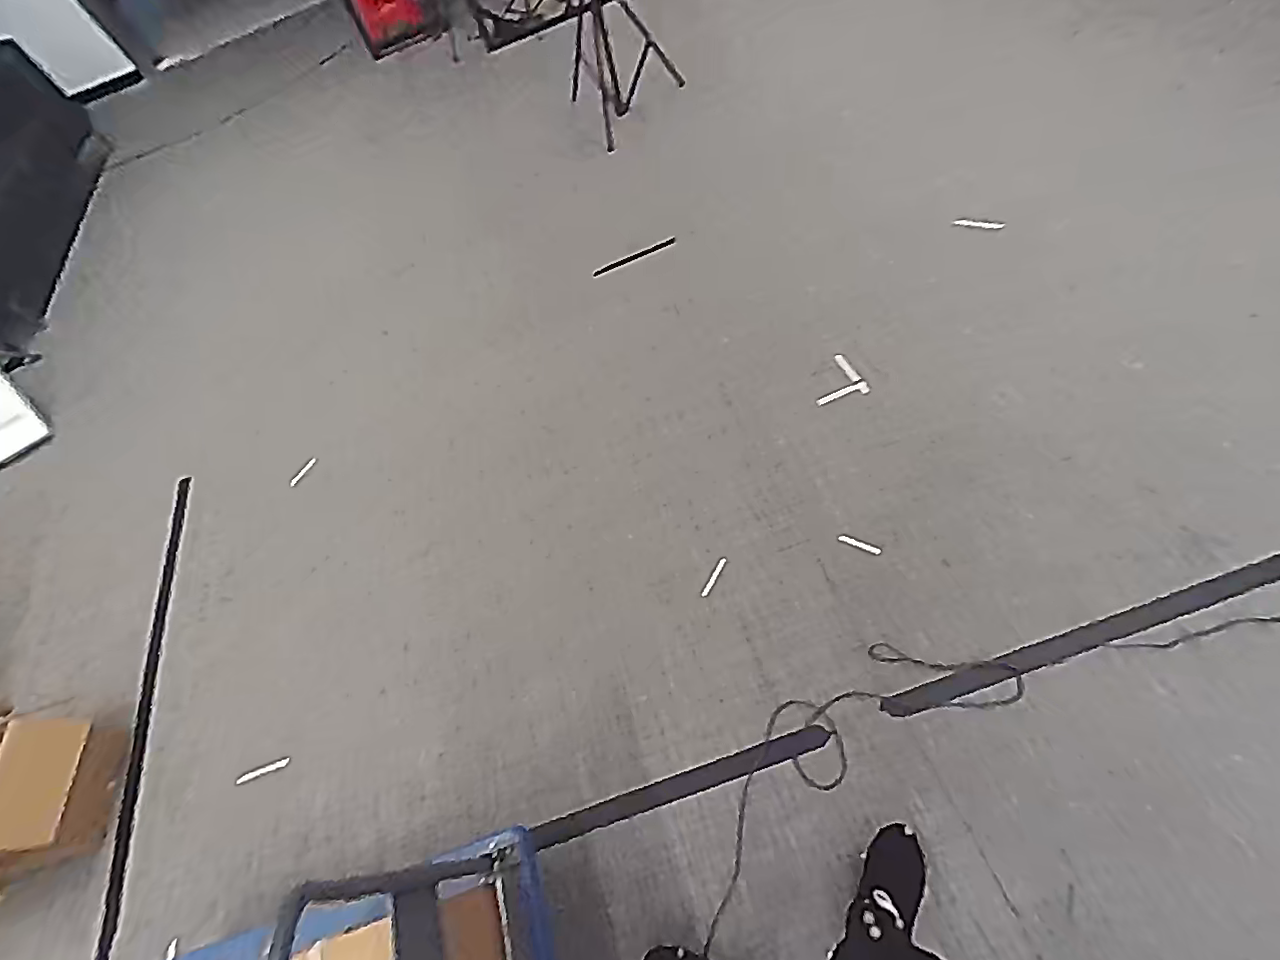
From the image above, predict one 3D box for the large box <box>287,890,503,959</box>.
[{"bbox_3d":[-0.405,0.963,0.864,0.320,0.320,0.408,-22,57,0],"label":"large box"}]
